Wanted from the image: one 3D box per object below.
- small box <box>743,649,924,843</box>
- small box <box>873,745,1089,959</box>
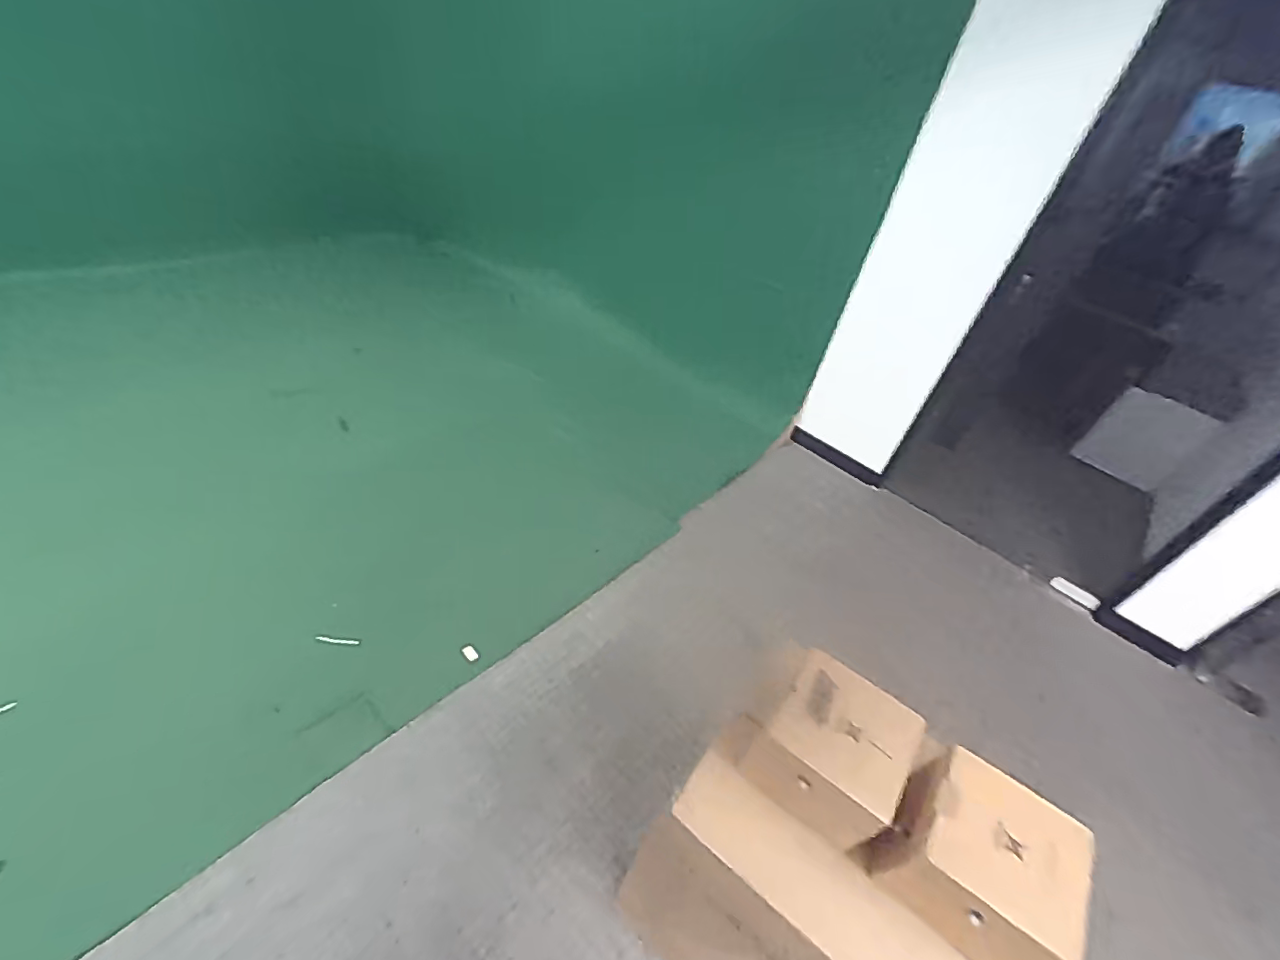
[{"bbox_3d":[0.277,0.396,0.803,0.179,0.176,0.168,32,50,21],"label":"small box"},{"bbox_3d":[0.446,0.503,0.726,0.179,0.176,0.168,32,51,19],"label":"small box"}]
